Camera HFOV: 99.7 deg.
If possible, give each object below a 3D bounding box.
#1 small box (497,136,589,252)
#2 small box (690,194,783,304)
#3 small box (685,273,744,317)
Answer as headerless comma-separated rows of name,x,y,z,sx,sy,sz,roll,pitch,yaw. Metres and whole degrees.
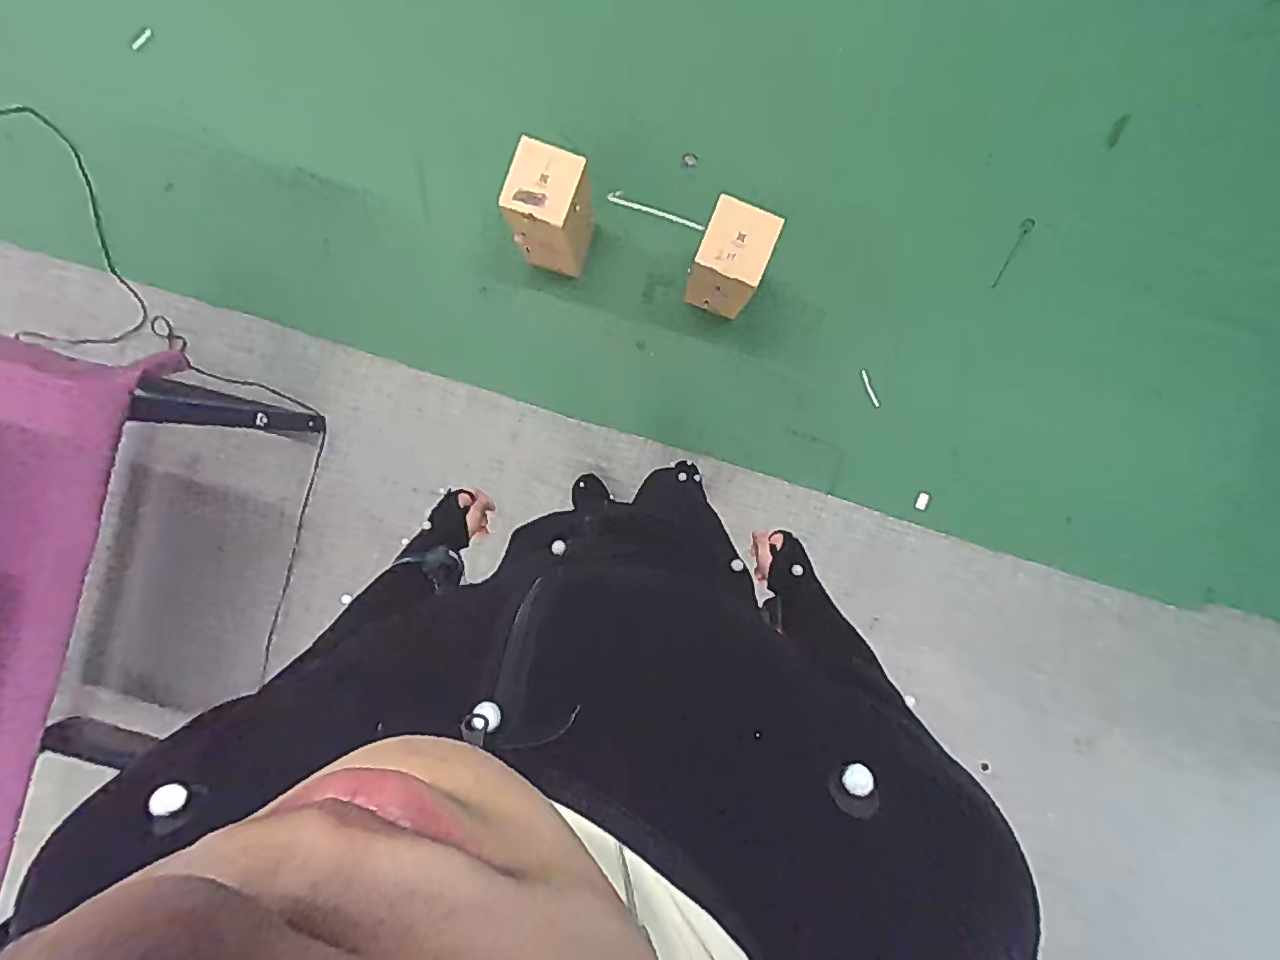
small box,-0.234,-0.705,1.356,0.168,0.176,0.179,20,91,0
small box,0.233,-0.572,1.360,0.168,0.176,0.179,22,93,-1
small box,0.232,-0.585,1.524,0.168,0.176,0.179,20,93,-1
